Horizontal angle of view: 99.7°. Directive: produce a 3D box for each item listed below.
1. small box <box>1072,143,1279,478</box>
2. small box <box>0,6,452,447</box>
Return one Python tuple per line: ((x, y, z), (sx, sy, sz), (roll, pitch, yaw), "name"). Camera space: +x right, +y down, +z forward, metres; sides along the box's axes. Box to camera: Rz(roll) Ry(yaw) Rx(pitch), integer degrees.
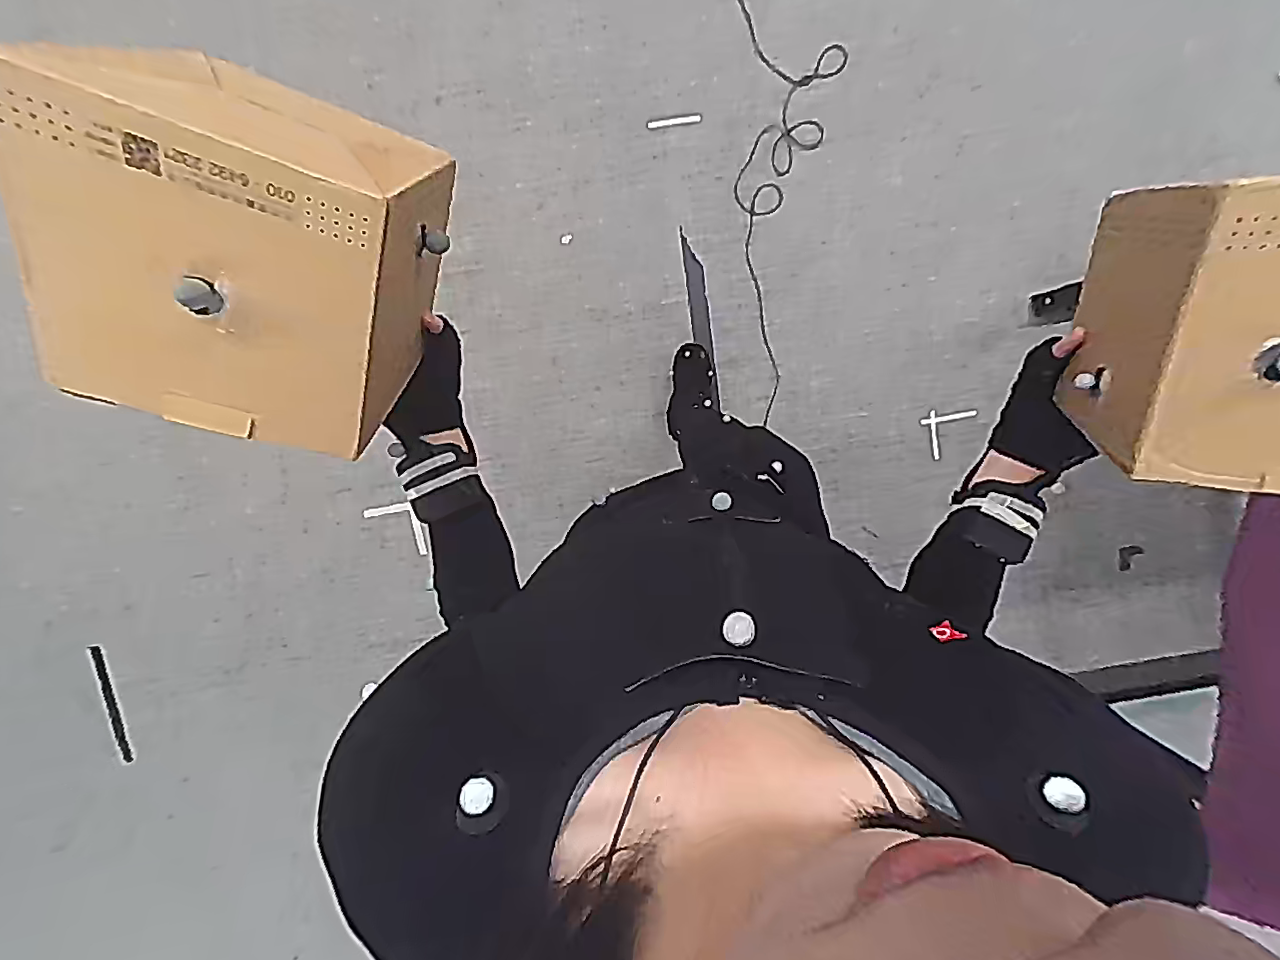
((0.402, -0.107, 0.323), (0.168, 0.179, 0.176), (7, 118, 21), "small box")
((-0.227, -0.151, 0.332), (0.168, 0.179, 0.176), (16, 124, -16), "small box")
